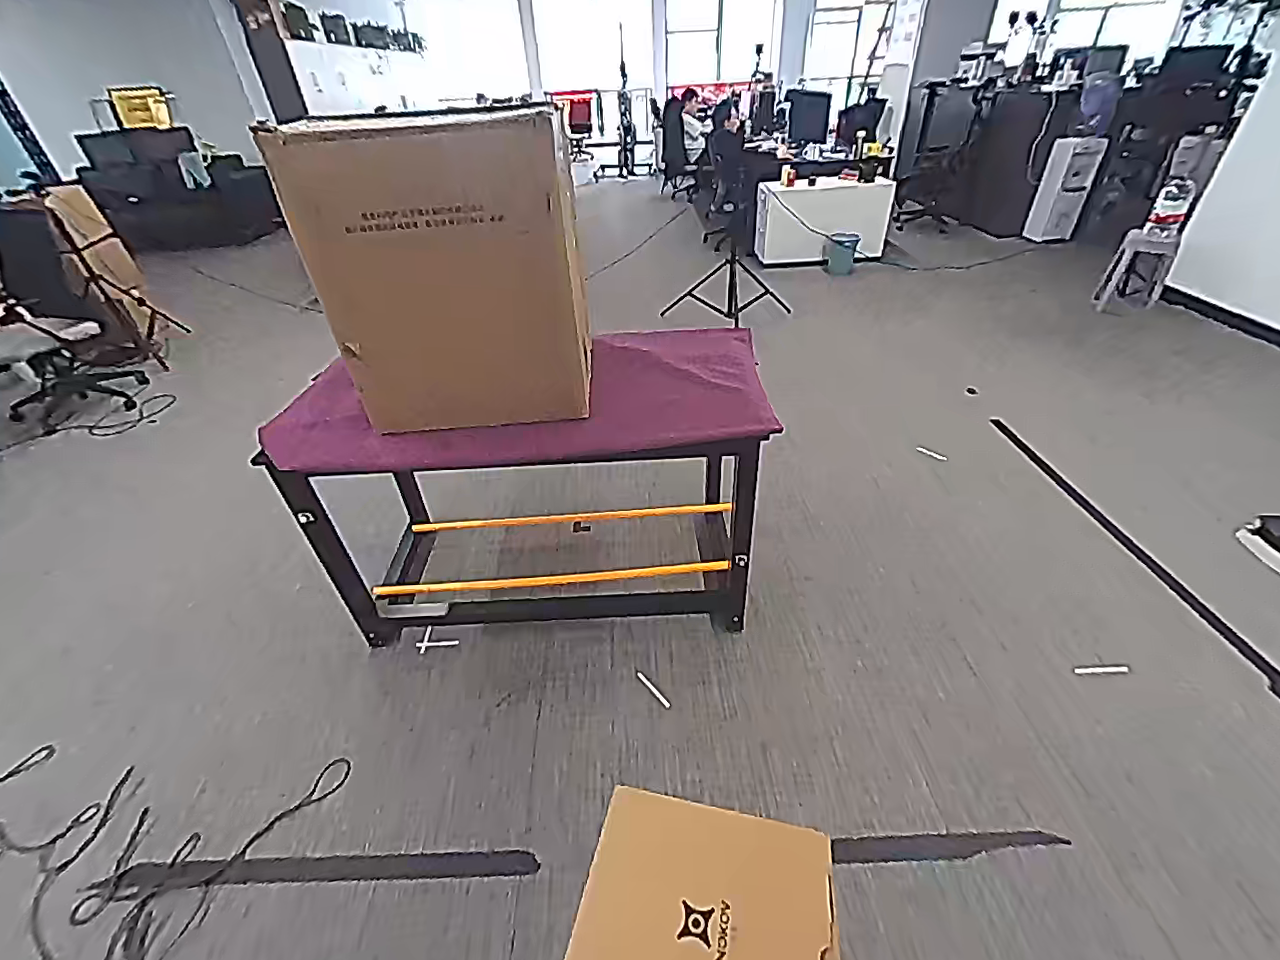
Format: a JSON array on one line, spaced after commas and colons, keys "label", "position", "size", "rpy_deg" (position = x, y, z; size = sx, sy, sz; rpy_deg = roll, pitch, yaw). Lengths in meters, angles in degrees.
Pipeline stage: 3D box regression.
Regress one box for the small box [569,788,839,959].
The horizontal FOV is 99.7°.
[{"label": "small box", "position": [0.049, 0.377, 0.410], "size": [0.179, 0.176, 0.168], "rpy_deg": [5, 29, 13]}]
